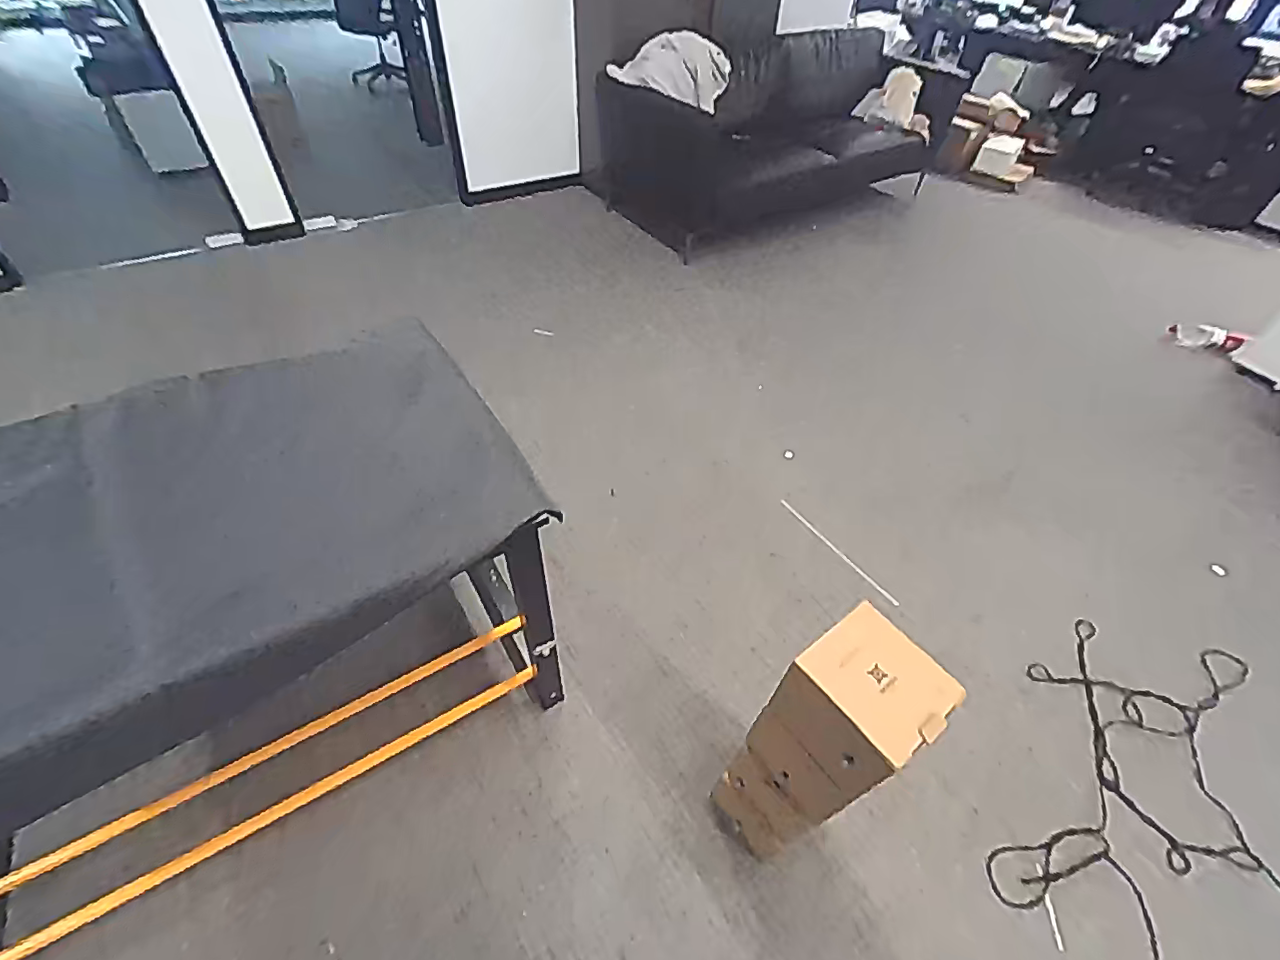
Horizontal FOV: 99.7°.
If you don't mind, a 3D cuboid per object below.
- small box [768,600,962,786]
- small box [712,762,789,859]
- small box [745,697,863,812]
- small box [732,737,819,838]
[{"bbox_3d":[0.319,0.320,0.800,0.168,0.176,0.179,-27,54,-27],"label":"small box"},{"bbox_3d":[0.274,0.660,1.151,0.179,0.176,0.168,-29,55,-27],"label":"small box"},{"bbox_3d":[0.306,0.431,0.919,0.168,0.176,0.179,-28,56,-27],"label":"small box"},{"bbox_3d":[0.294,0.544,1.036,0.179,0.176,0.168,-28,55,-28],"label":"small box"}]
